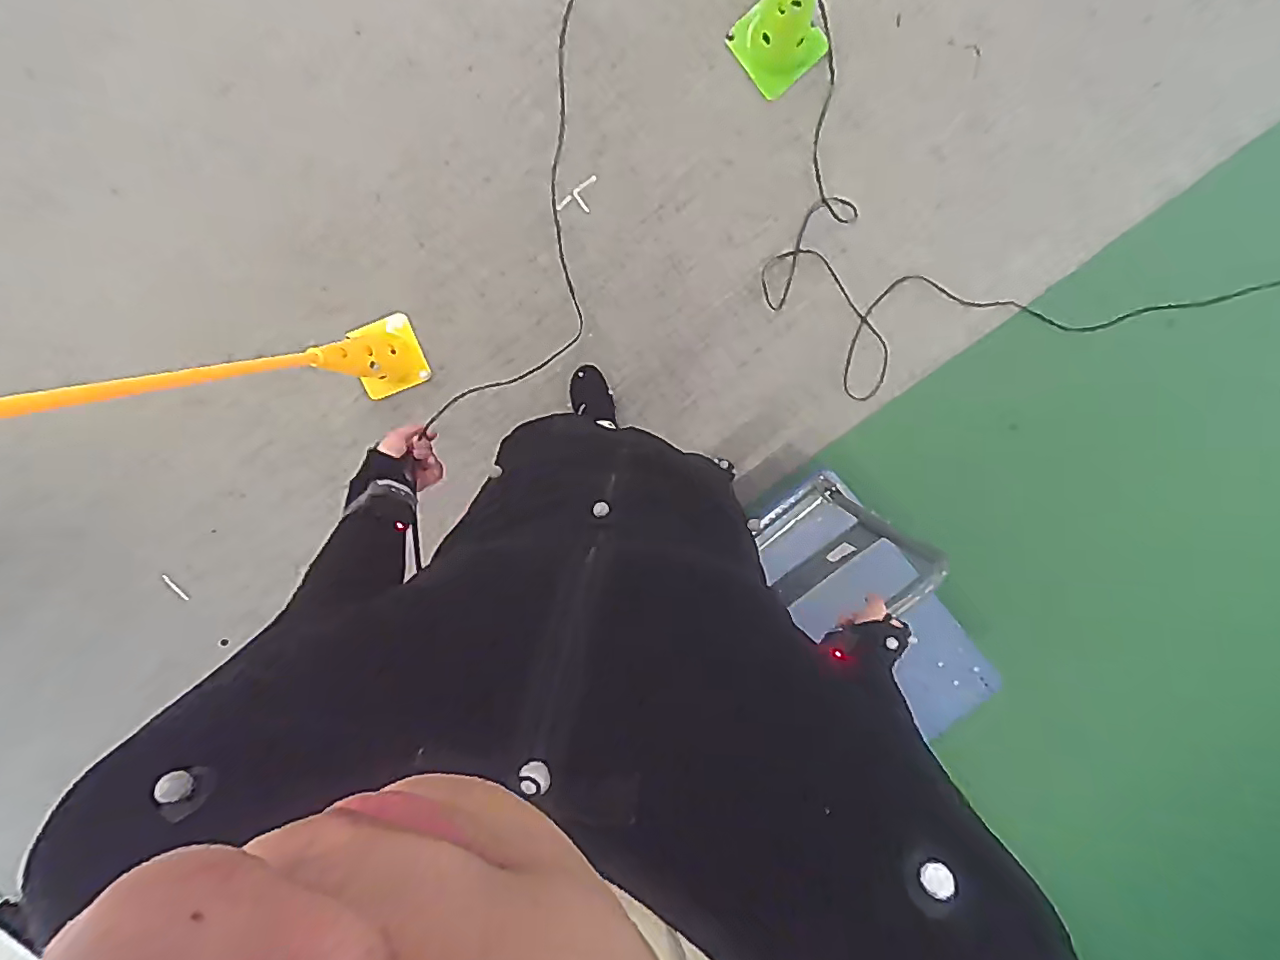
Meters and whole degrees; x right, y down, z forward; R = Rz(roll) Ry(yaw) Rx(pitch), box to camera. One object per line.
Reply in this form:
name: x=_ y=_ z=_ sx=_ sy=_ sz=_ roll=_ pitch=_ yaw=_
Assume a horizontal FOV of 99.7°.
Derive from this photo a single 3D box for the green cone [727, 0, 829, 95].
green cone: x=0.346 y=-1.073 z=1.188 sx=0.202 sy=0.368 sz=0.200 roll=-41 pitch=99 yaw=8
